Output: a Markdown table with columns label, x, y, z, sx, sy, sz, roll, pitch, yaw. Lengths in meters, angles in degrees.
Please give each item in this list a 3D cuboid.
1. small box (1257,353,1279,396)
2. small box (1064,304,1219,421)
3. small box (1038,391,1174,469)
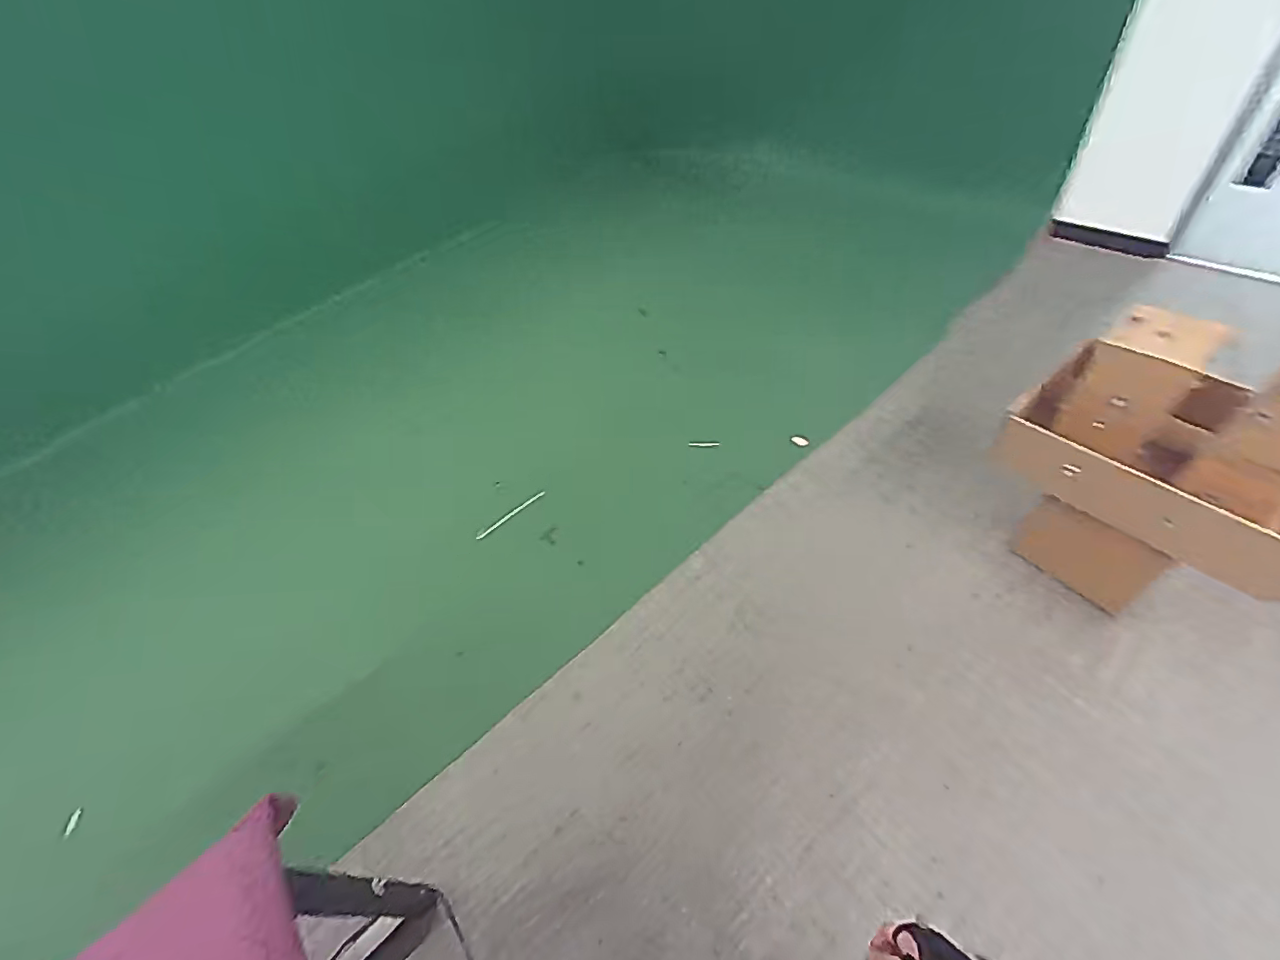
| label | x | y | z | sx | sy | sz | roll | pitch | yaw |
| --- | --- | --- | --- | --- | --- | --- | --- | --- | --- |
| small box | 1.259 | -0.225 | 0.944 | 0.179 | 0.176 | 0.168 | -36 | 53 | -18 |
| small box | 1.117 | -0.259 | 1.219 | 0.168 | 0.176 | 0.179 | -39 | 54 | -19 |
| small box | 1.145 | -0.158 | 1.345 | 0.168 | 0.176 | 0.179 | -38 | 55 | -18 |
